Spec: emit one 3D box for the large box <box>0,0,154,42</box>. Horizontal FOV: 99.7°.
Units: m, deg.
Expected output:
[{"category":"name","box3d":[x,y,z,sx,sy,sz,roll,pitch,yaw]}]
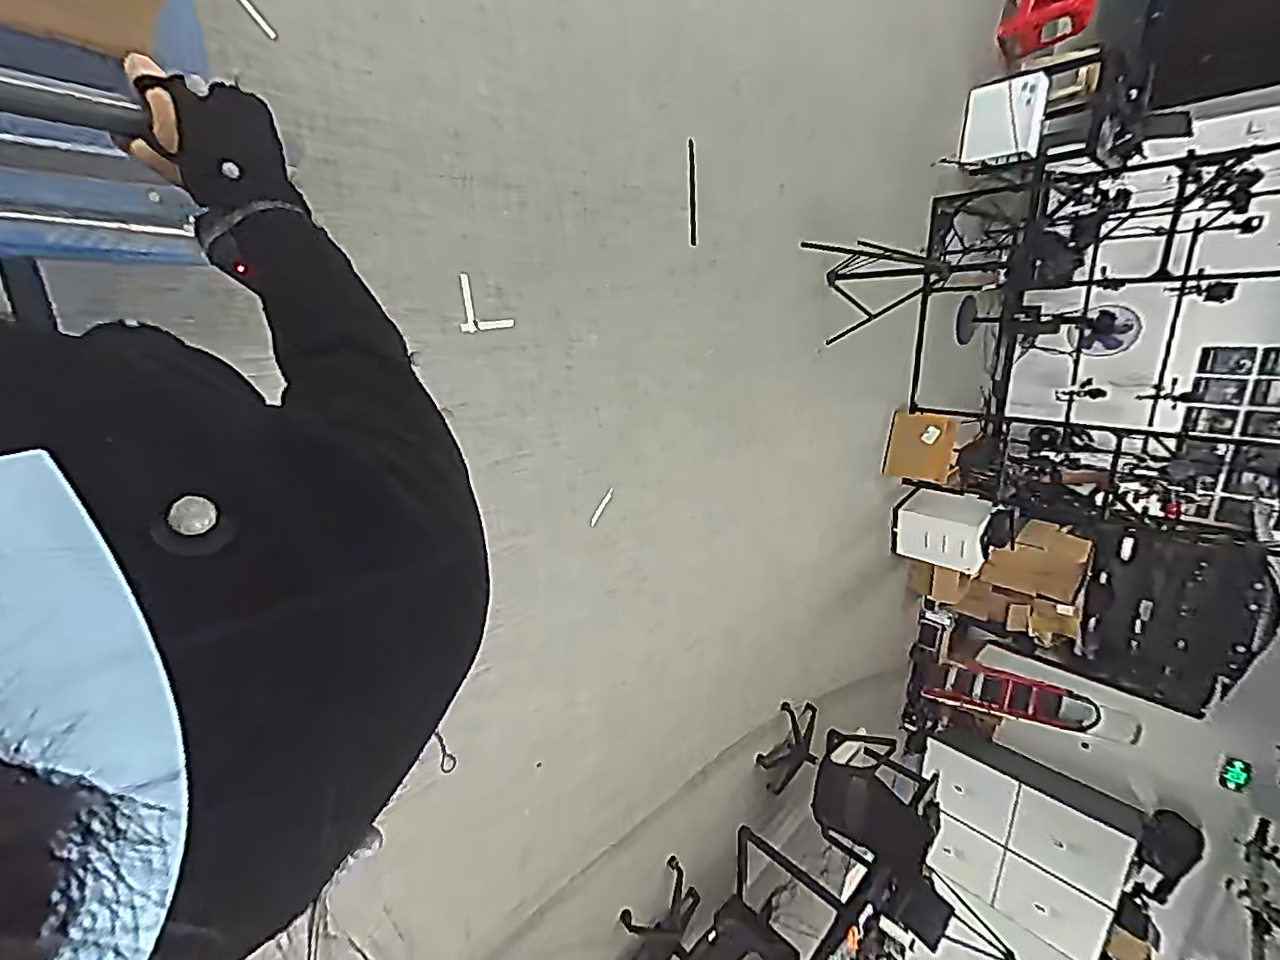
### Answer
[{"category":"large box","box3d":[-0.874,-0.807,0.636,0.408,0.320,0.320,-14,110,-42]}]
